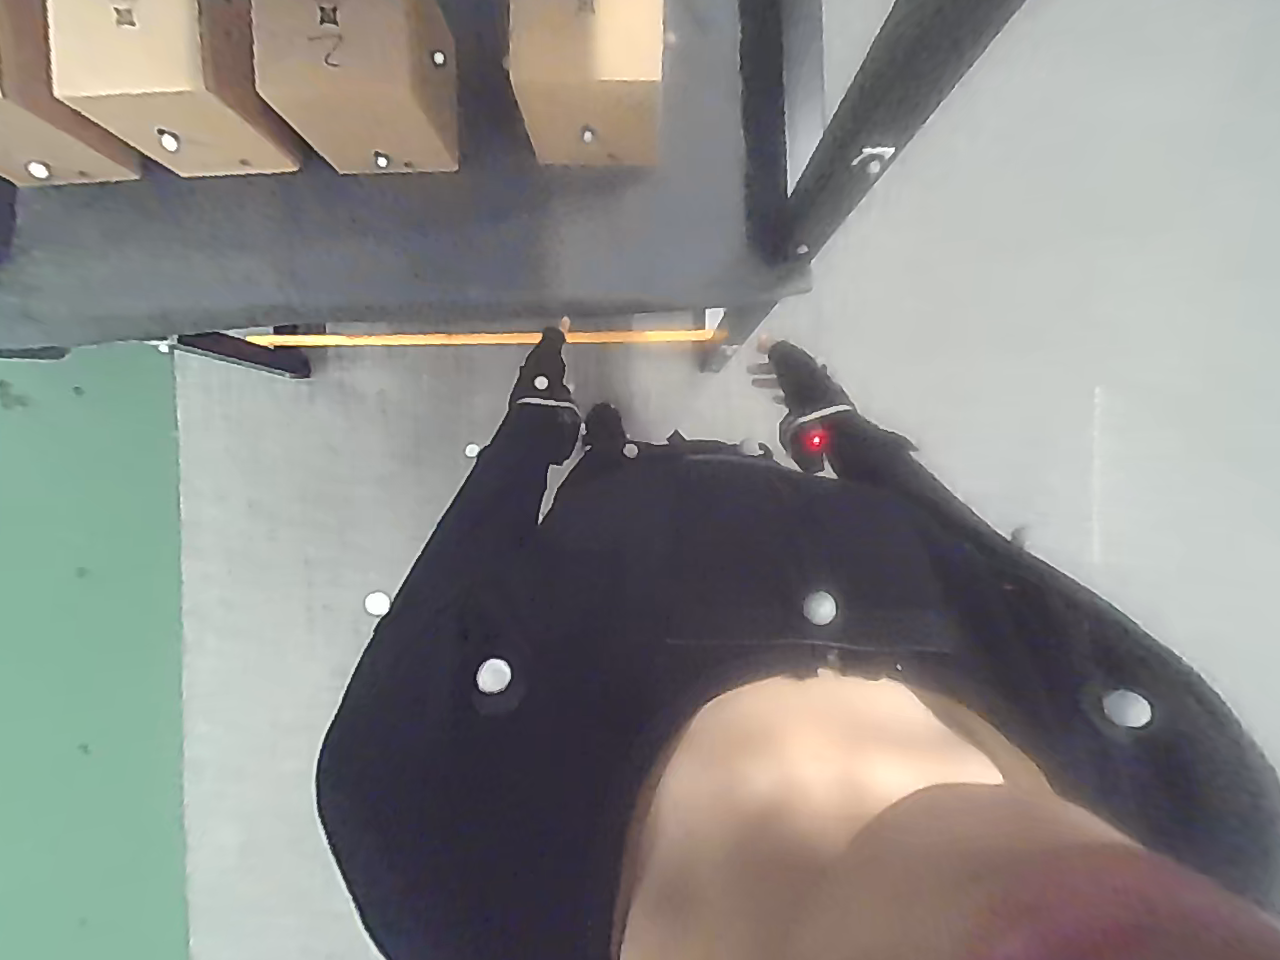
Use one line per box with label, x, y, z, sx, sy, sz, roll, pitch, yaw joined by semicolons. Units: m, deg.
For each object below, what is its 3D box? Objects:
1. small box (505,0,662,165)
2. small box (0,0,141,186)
small box;-0.059;-0.513;0.657;0.168;0.176;0.179;2;91;0
small box;-0.769;-0.494;0.663;0.168;0.176;0.179;-3;91;0
